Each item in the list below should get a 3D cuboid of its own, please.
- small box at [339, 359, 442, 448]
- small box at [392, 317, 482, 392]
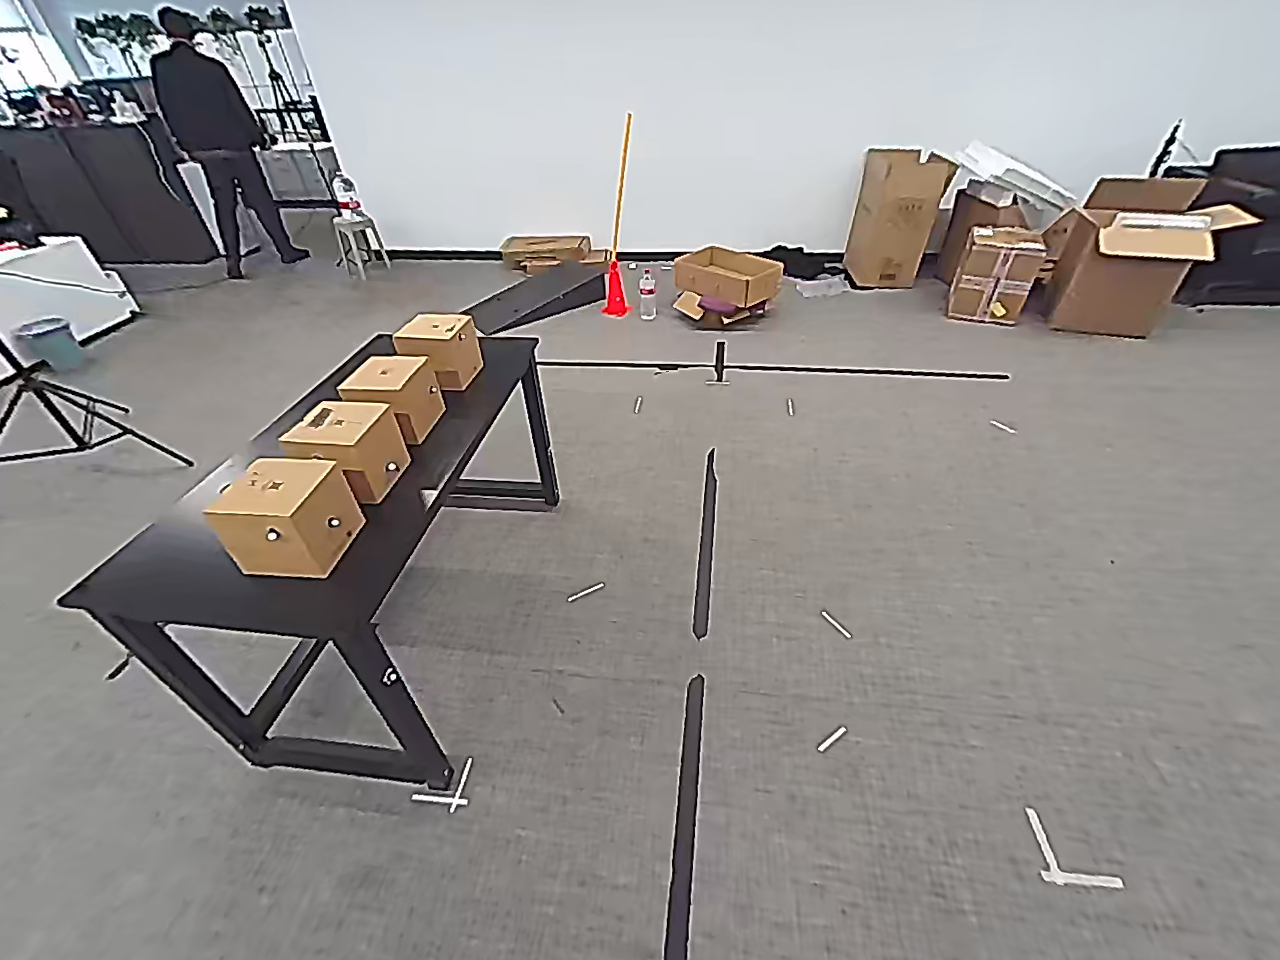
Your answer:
[{"bbox_3d":[-0.644,-0.204,1.425,0.168,0.176,0.179,1,40,7],"label":"small box"},{"bbox_3d":[-0.603,-0.378,1.631,0.179,0.176,0.168,3,40,9],"label":"small box"}]
